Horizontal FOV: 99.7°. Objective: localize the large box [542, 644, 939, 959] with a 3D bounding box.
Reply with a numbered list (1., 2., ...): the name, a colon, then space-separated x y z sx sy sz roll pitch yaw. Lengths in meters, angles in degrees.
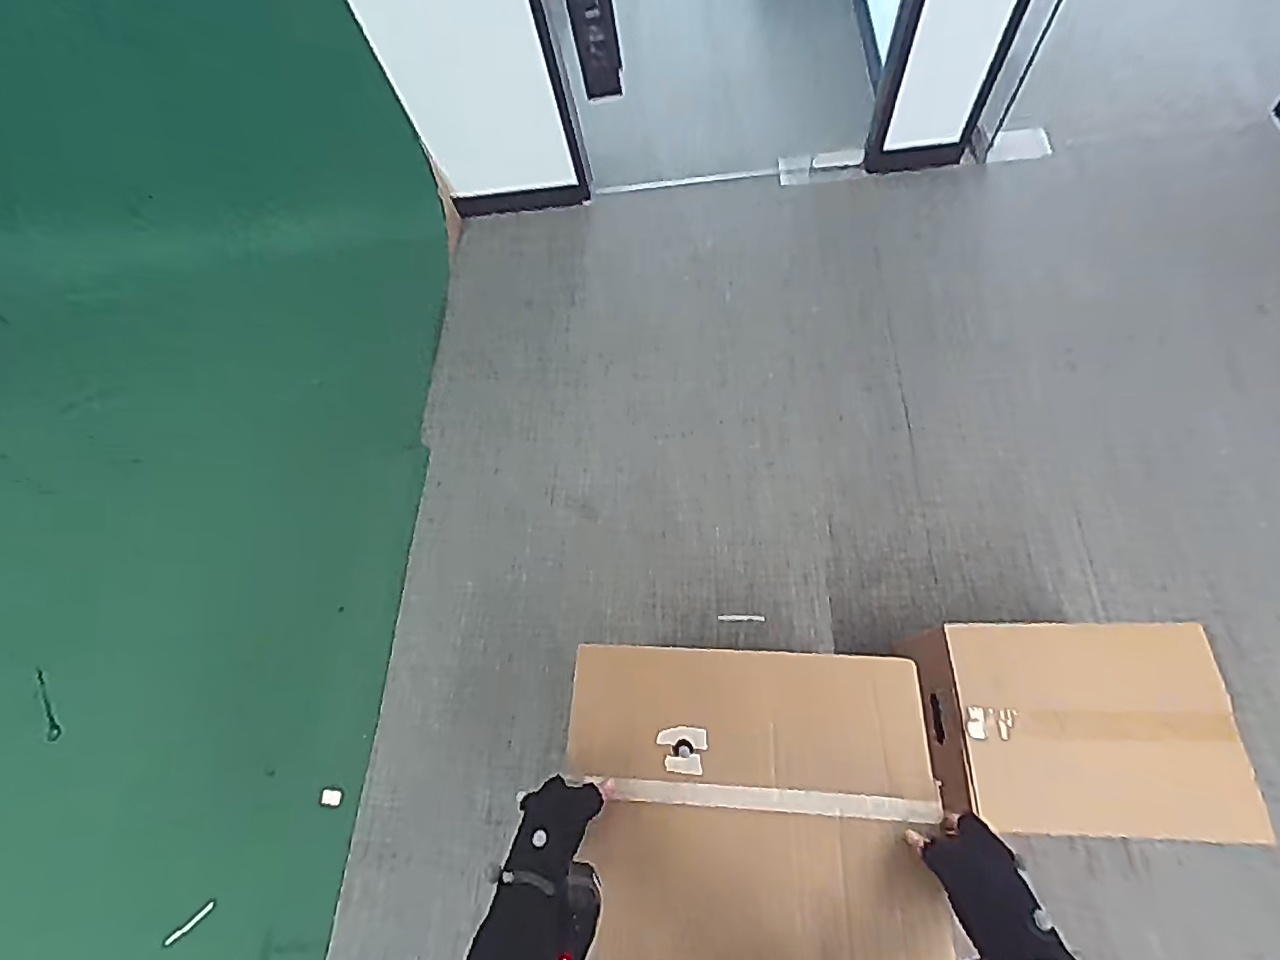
1. large box: 0.121 0.403 0.731 0.408 0.320 0.320 0 67 9
